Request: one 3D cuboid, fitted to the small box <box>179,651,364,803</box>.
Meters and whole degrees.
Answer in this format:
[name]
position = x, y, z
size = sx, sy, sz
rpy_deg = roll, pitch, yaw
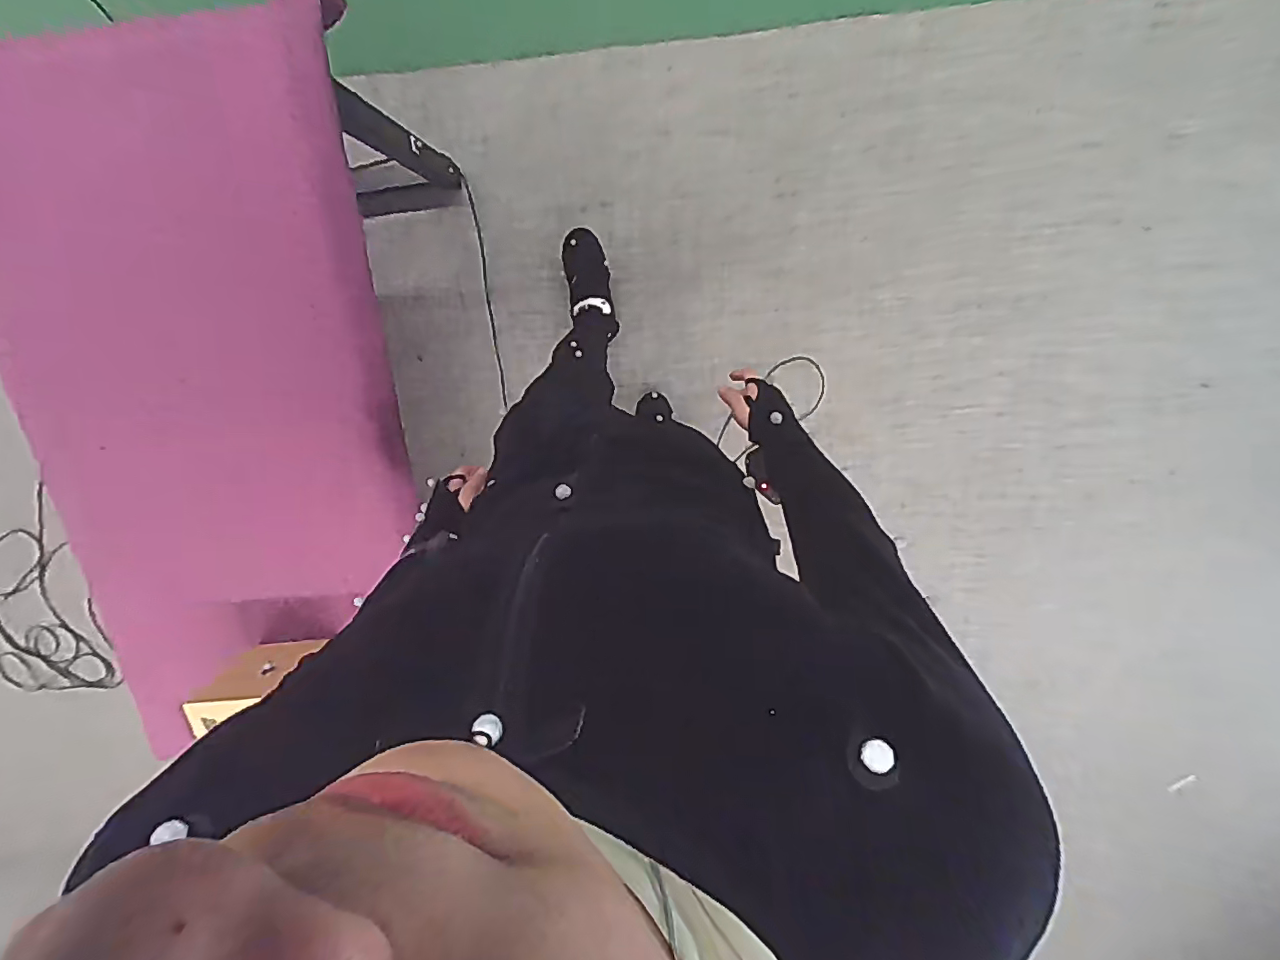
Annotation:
[small box]
position = -0.614, 0.413, 0.924
size = 0.179, 0.176, 0.168
rpy_deg = -7, 105, 3
